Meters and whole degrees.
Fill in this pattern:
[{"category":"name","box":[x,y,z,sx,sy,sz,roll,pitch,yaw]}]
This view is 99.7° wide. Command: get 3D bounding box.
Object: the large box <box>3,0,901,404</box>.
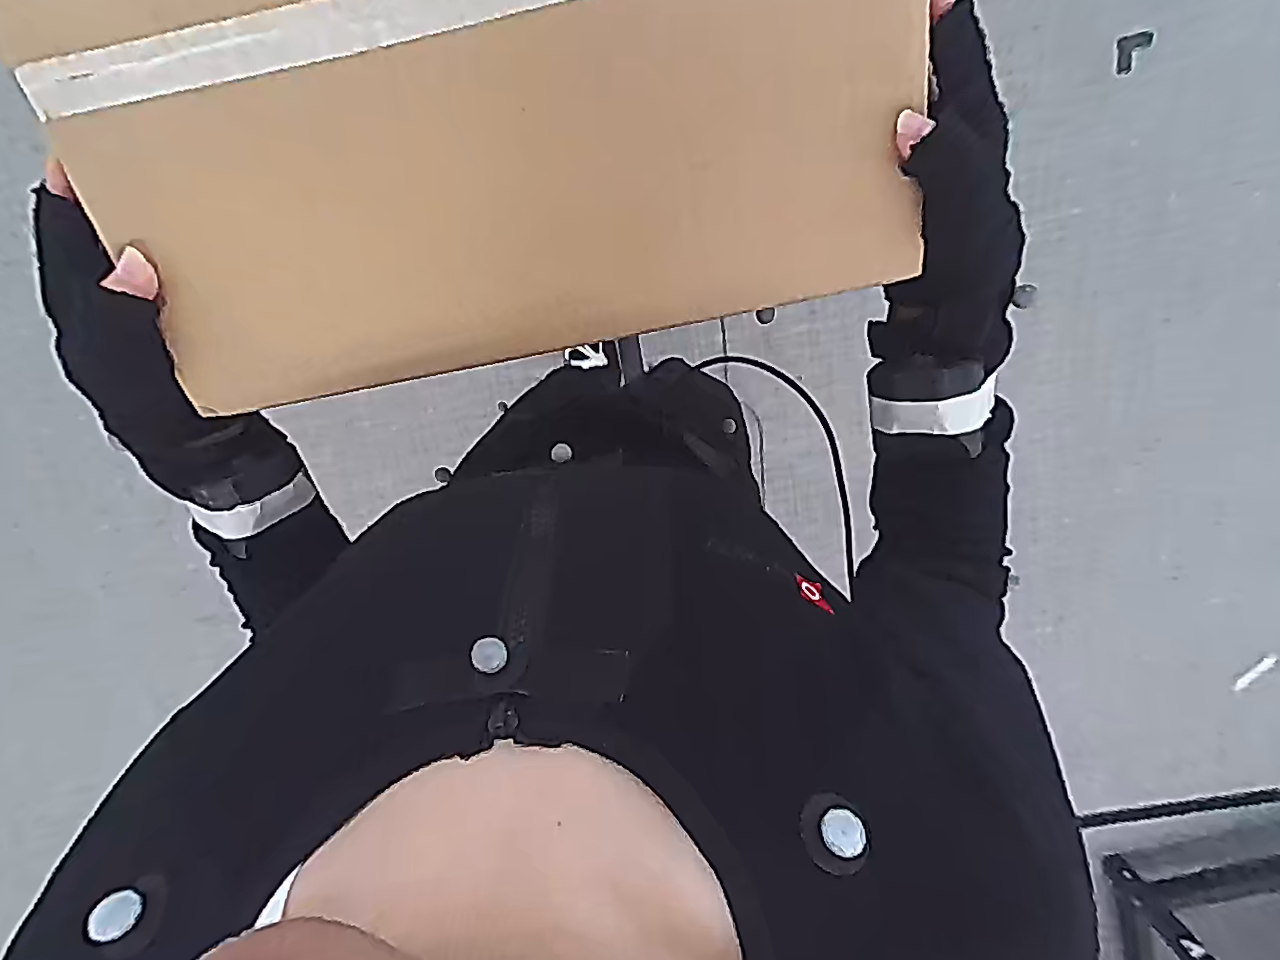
[{"category":"large box","box":[-0.084,-0.278,0.382,0.408,0.320,0.320,-11,112,3]}]
